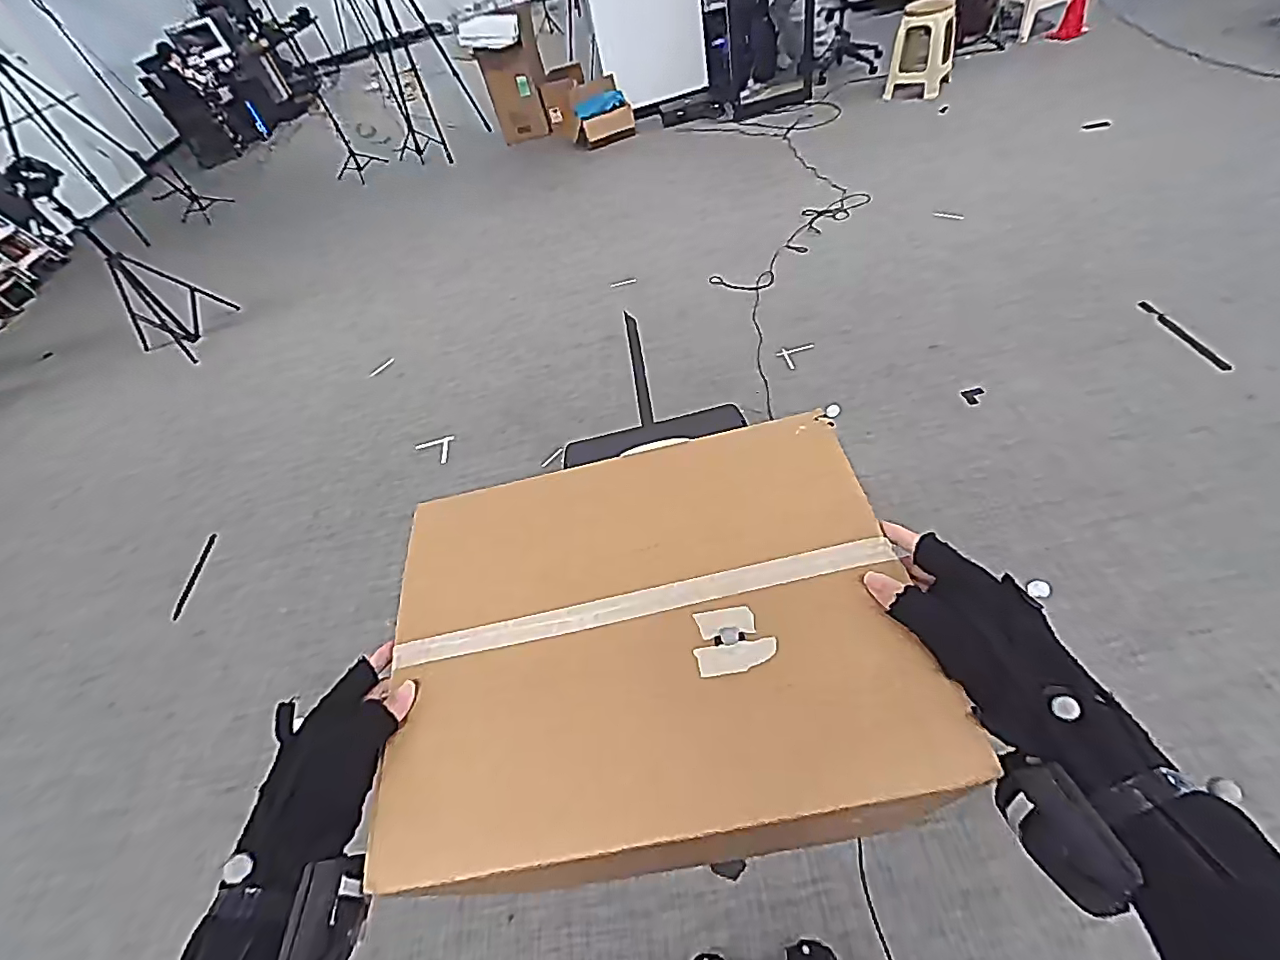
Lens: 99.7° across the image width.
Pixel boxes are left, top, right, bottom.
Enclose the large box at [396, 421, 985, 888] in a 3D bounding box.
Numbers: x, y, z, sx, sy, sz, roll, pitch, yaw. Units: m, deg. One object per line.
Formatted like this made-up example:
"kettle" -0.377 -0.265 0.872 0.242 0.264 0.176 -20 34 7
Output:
"large box" 0.032 0.193 0.557 0.408 0.320 0.320 -13 52 3
